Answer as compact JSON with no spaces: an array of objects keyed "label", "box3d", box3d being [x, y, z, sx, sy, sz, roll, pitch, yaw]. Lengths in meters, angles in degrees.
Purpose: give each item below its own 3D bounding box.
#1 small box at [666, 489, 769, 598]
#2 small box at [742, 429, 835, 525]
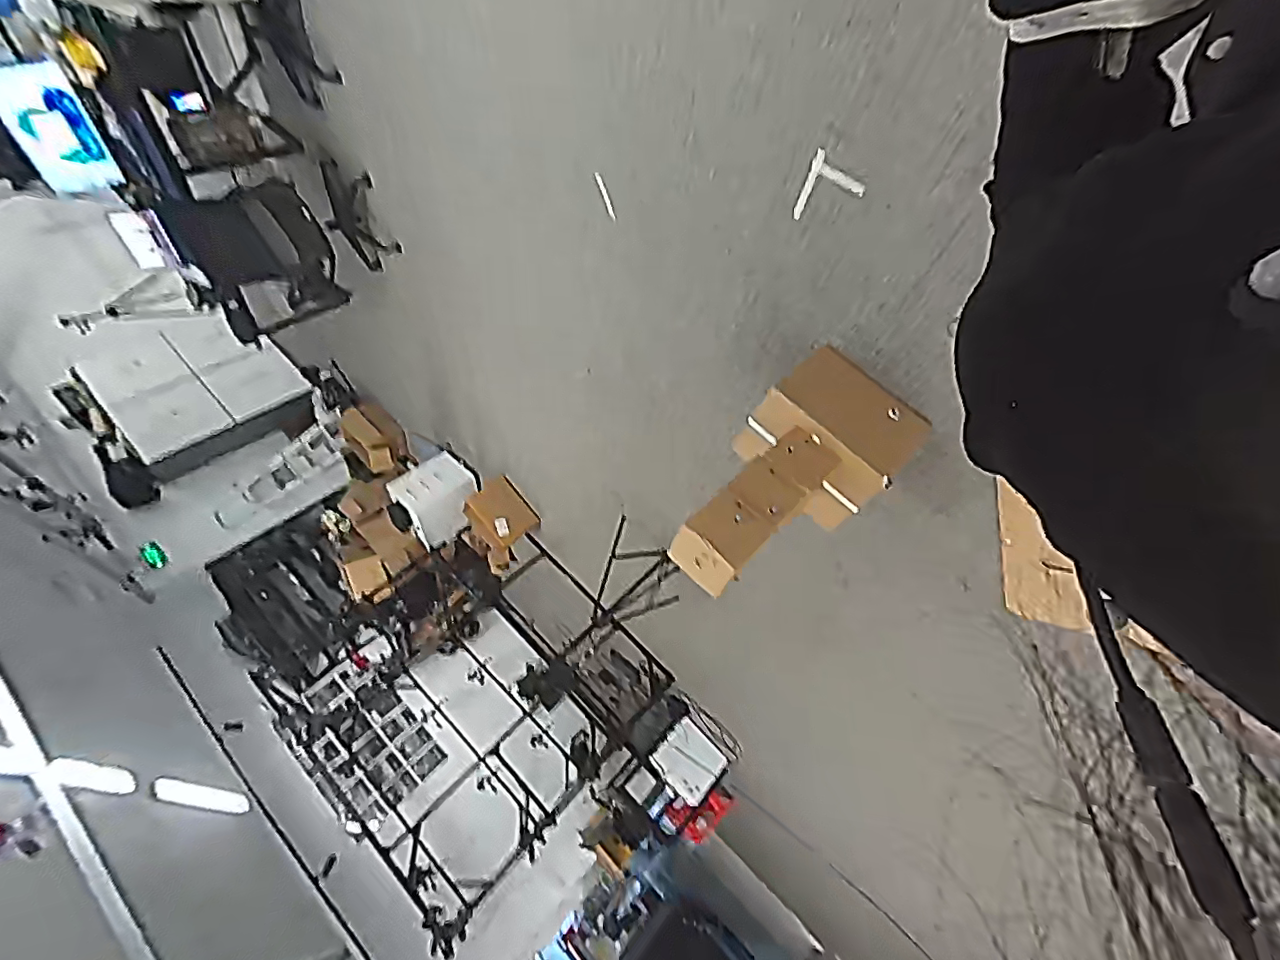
[{"label":"small box","box3d":[0.195,0.159,1.355,0.168,0.176,0.179,41,147,15]},{"label":"small box","box3d":[0.421,-0.013,1.522,0.168,0.176,0.179,41,148,18]}]
